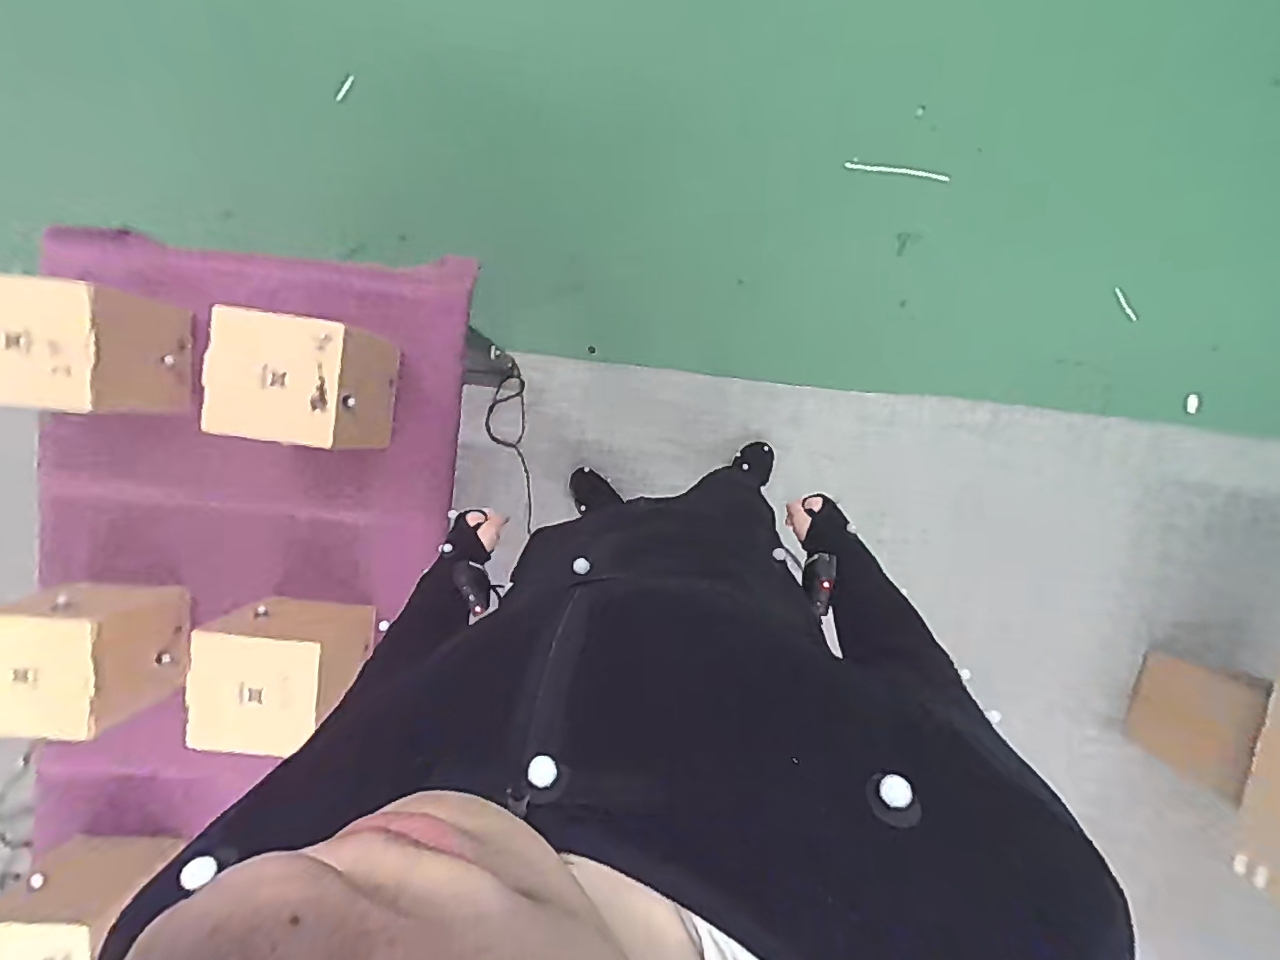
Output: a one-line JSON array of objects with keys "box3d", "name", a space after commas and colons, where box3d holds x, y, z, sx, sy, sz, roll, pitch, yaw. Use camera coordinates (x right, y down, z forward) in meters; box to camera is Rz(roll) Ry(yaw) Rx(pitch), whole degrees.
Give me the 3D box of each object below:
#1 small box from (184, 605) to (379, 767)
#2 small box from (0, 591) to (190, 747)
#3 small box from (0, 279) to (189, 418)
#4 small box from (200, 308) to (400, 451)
[{"box3d": [-0.519, 0.292, 0.804, 0.179, 0.176, 0.168, 6, 94, -2], "name": "small box"}, {"box3d": [-0.815, 0.264, 0.790, 0.179, 0.176, 0.168, 3, 93, -4], "name": "small box"}, {"box3d": [-0.789, -0.176, 0.758, 0.179, 0.176, 0.168, 4, 96, -4], "name": "small box"}, {"box3d": [-0.475, -0.134, 0.776, 0.179, 0.176, 0.168, 8, 95, 0], "name": "small box"}]
